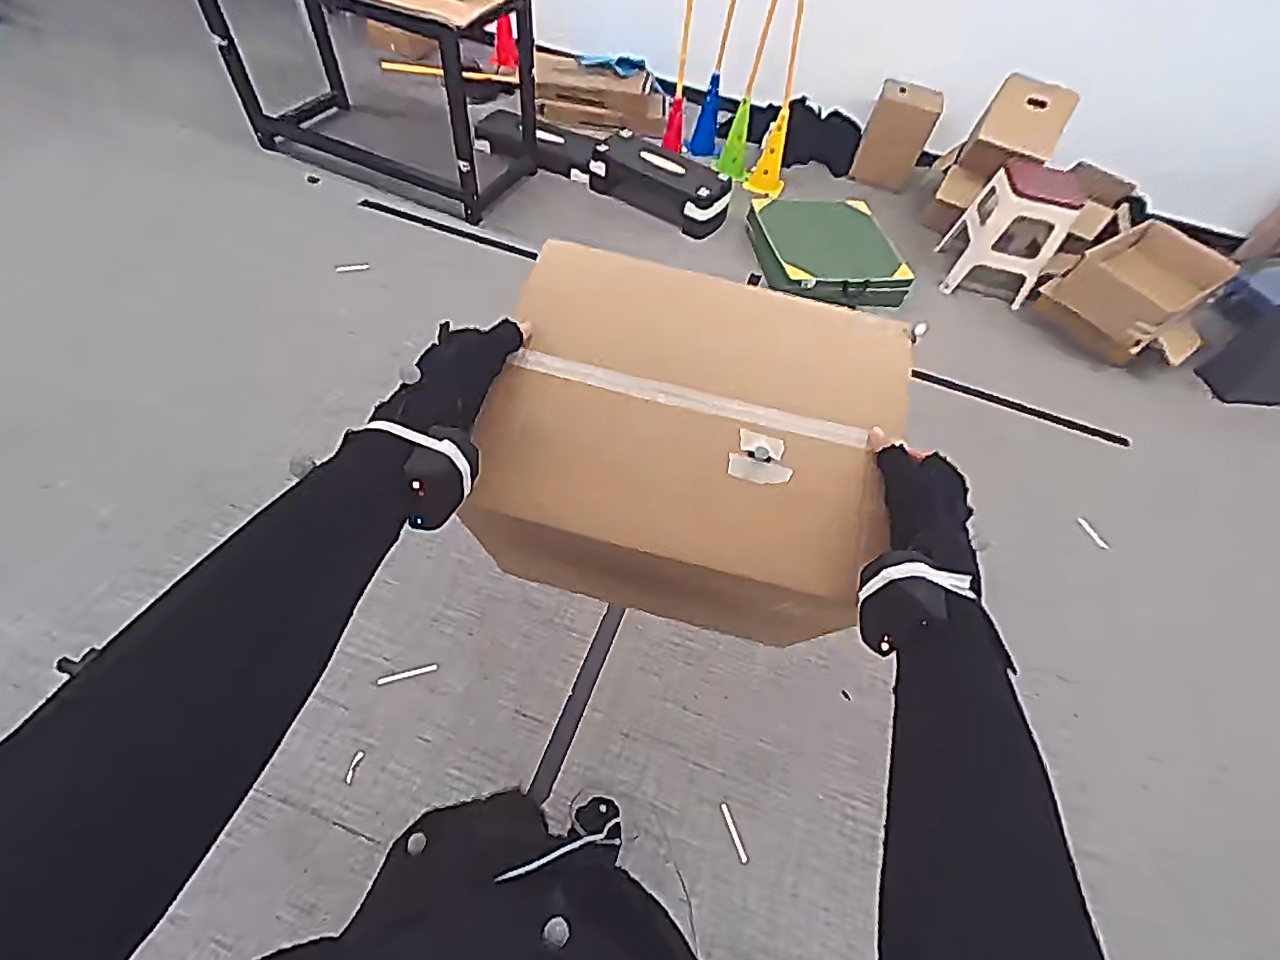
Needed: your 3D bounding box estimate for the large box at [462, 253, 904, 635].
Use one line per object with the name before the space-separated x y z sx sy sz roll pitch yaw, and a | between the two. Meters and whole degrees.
large box | 0.052 -0.019 0.677 0.408 0.320 0.320 14 69 2
